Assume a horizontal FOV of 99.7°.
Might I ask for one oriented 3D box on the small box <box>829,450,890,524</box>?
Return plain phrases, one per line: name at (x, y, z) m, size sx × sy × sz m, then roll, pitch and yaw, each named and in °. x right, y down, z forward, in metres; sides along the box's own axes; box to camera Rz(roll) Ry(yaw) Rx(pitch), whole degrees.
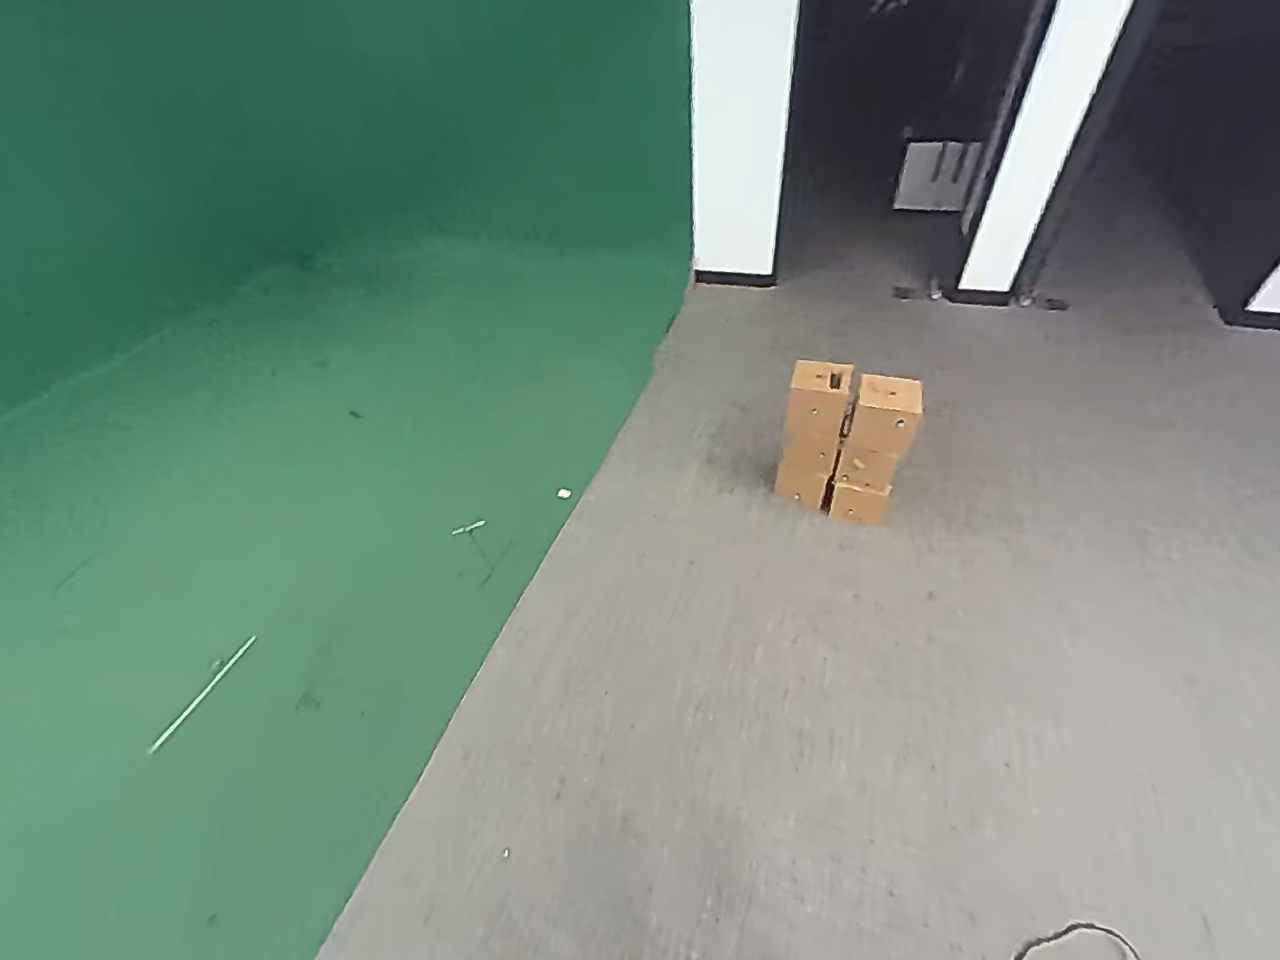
small box at (0.770, 0.024, 1.904) m, size 0.168 × 0.176 × 0.179 m, roll 11°, pitch 49°, yaw 17°
